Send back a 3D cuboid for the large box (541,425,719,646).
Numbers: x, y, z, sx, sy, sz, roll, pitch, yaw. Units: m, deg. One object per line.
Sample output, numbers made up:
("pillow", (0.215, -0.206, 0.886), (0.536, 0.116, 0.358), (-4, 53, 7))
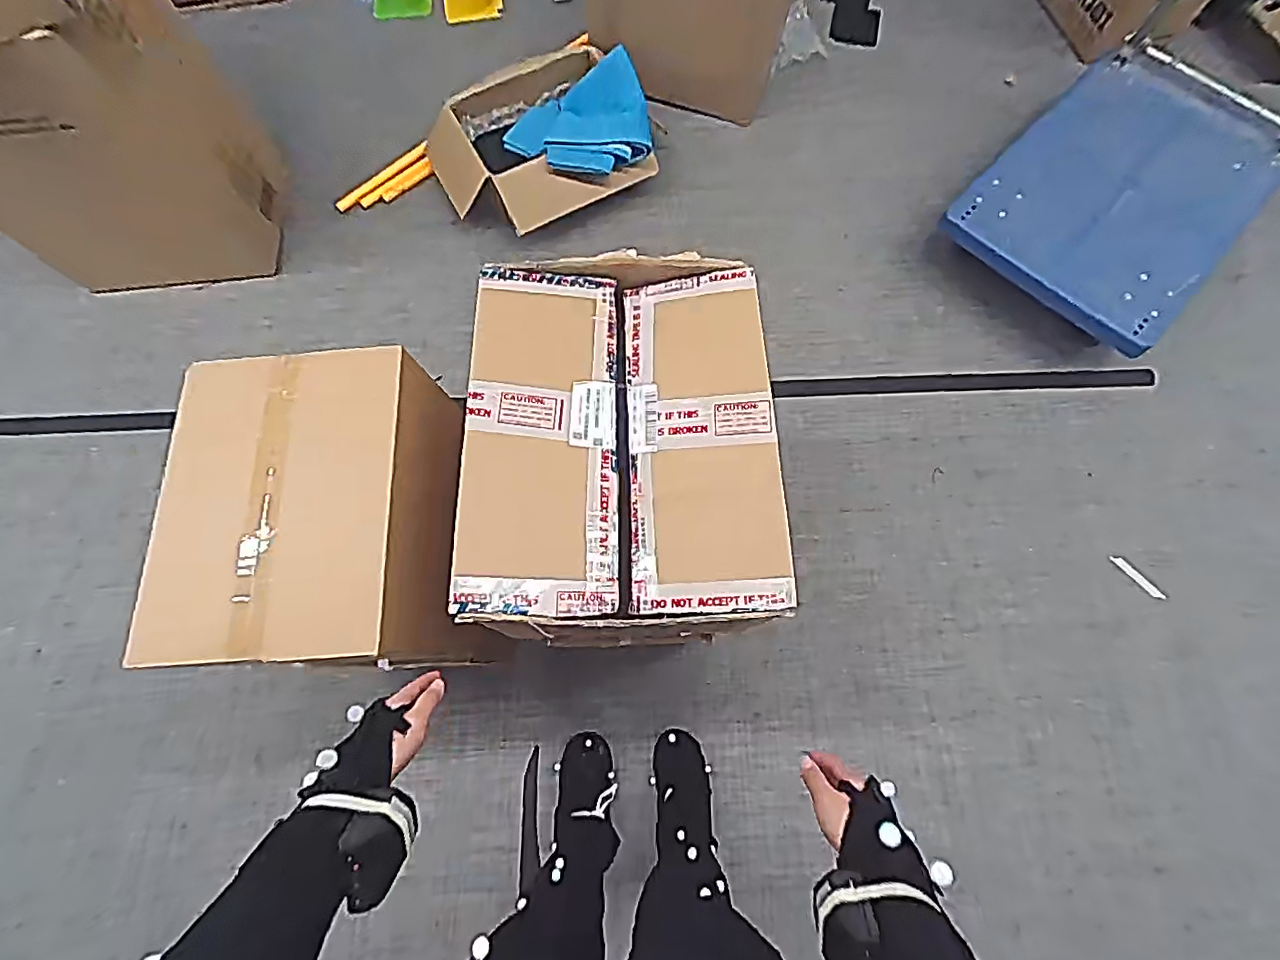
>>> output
("large box", (-0.029, 0.130, 1.143), (0.320, 0.320, 0.408), (-3, 72, -1))
